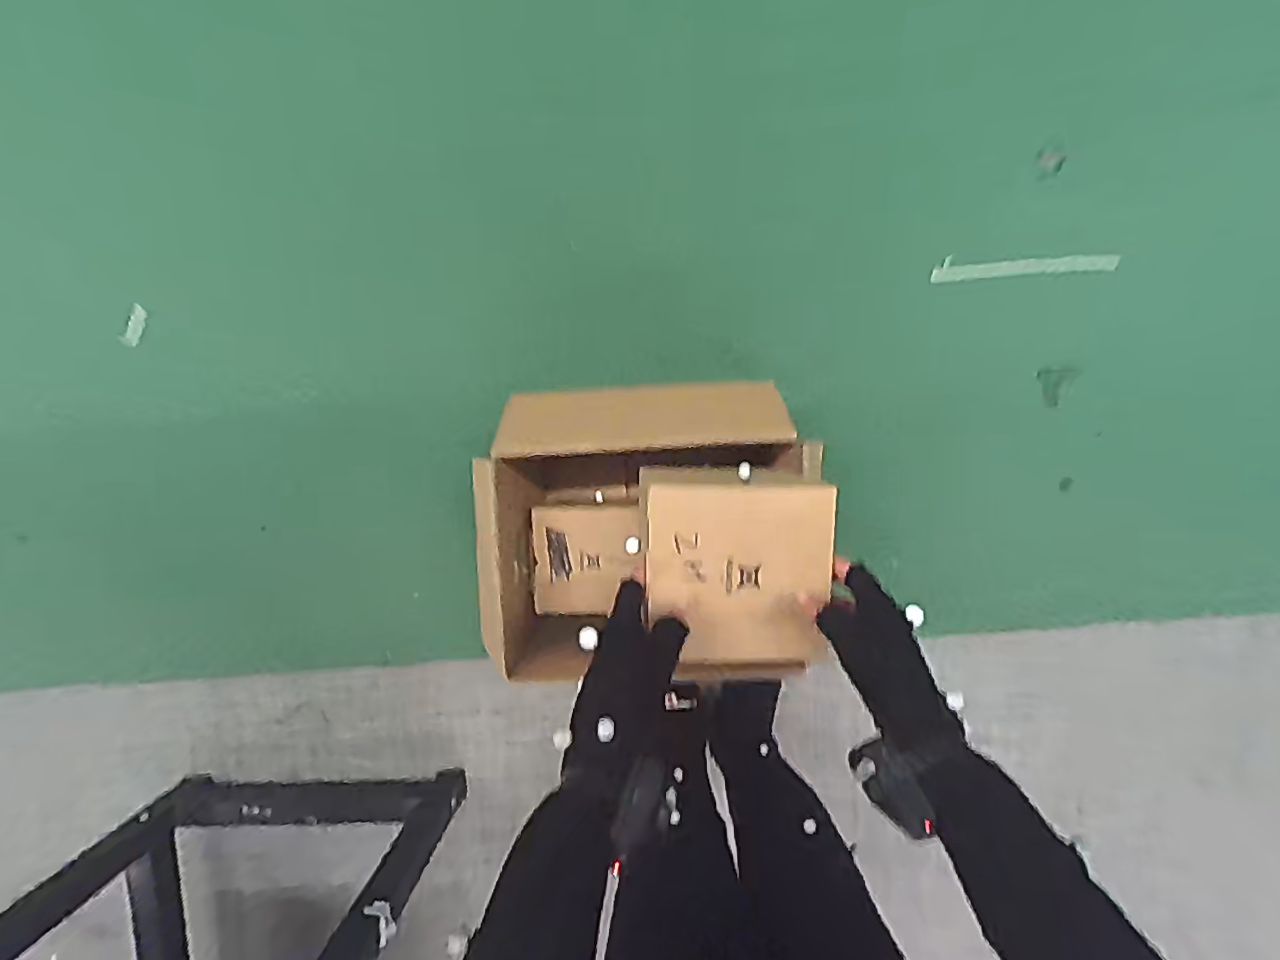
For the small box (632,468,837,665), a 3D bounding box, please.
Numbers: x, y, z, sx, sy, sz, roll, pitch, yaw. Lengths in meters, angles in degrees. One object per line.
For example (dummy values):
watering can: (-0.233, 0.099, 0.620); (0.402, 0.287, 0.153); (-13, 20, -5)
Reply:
small box: (0.083, 0.077, 0.562); (0.179, 0.176, 0.168); (0, 97, -2)
